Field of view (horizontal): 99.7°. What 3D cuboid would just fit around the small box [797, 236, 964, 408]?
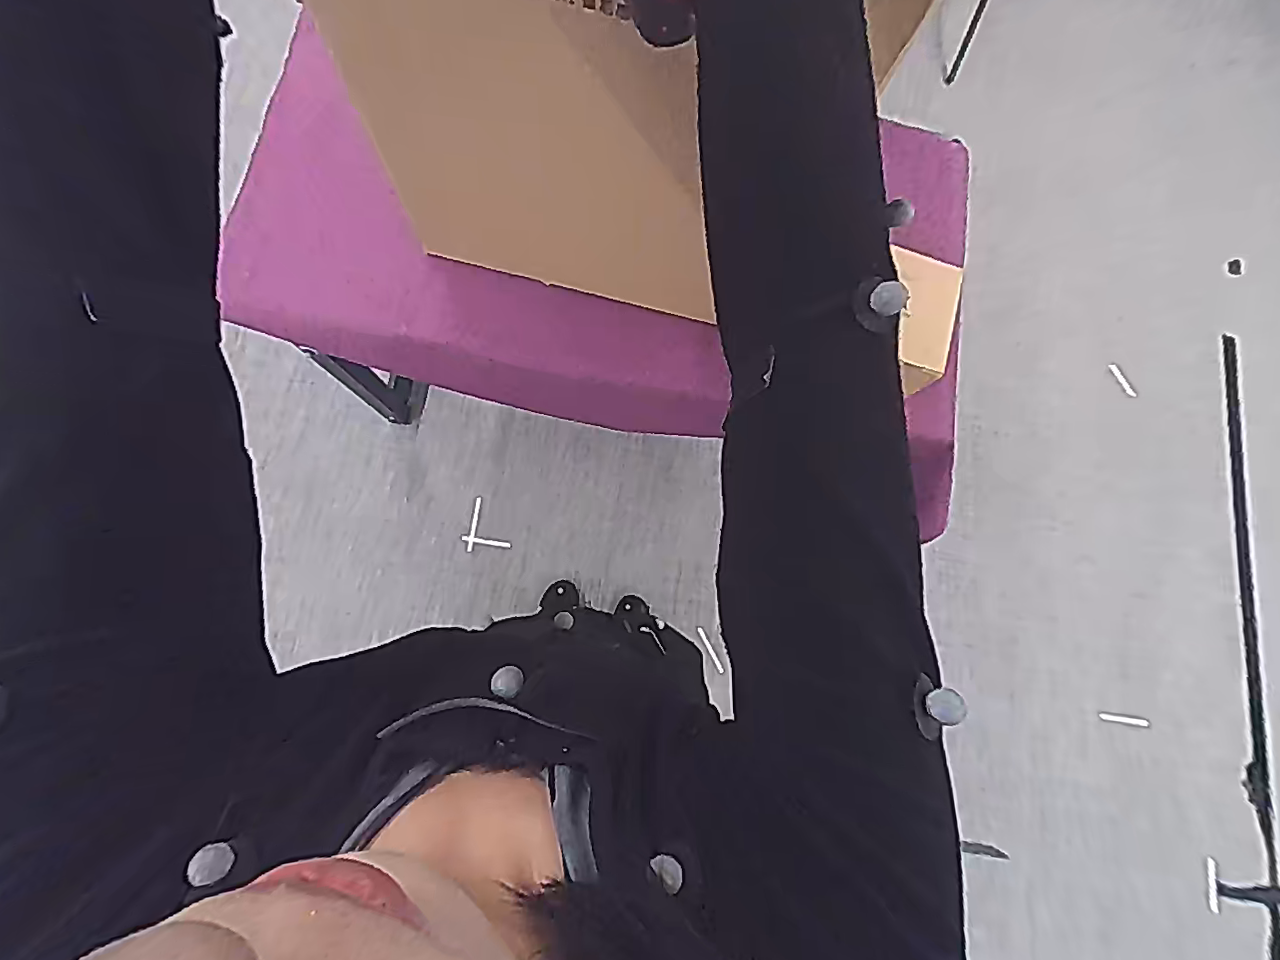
[{"bbox_3d":[0.362,-0.233,0.842,0.168,0.176,0.179,18,77,-3],"label":"small box"}]
